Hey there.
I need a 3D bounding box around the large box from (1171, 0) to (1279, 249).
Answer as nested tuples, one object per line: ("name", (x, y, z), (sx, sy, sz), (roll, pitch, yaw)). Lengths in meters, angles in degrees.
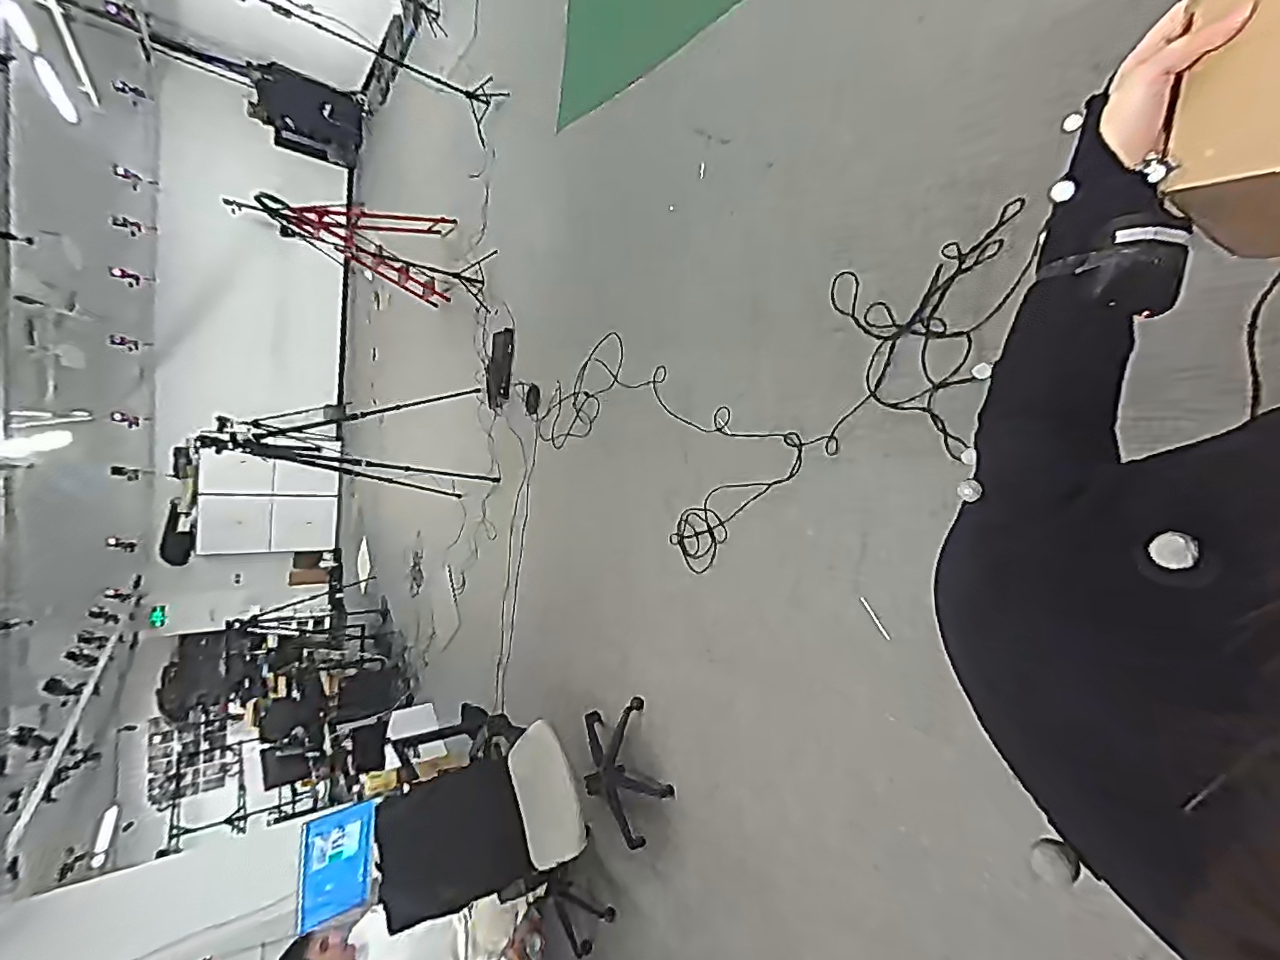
("large box", (0.645, -0.348, 0.306), (0.408, 0.320, 0.320), (17, 107, 55))
